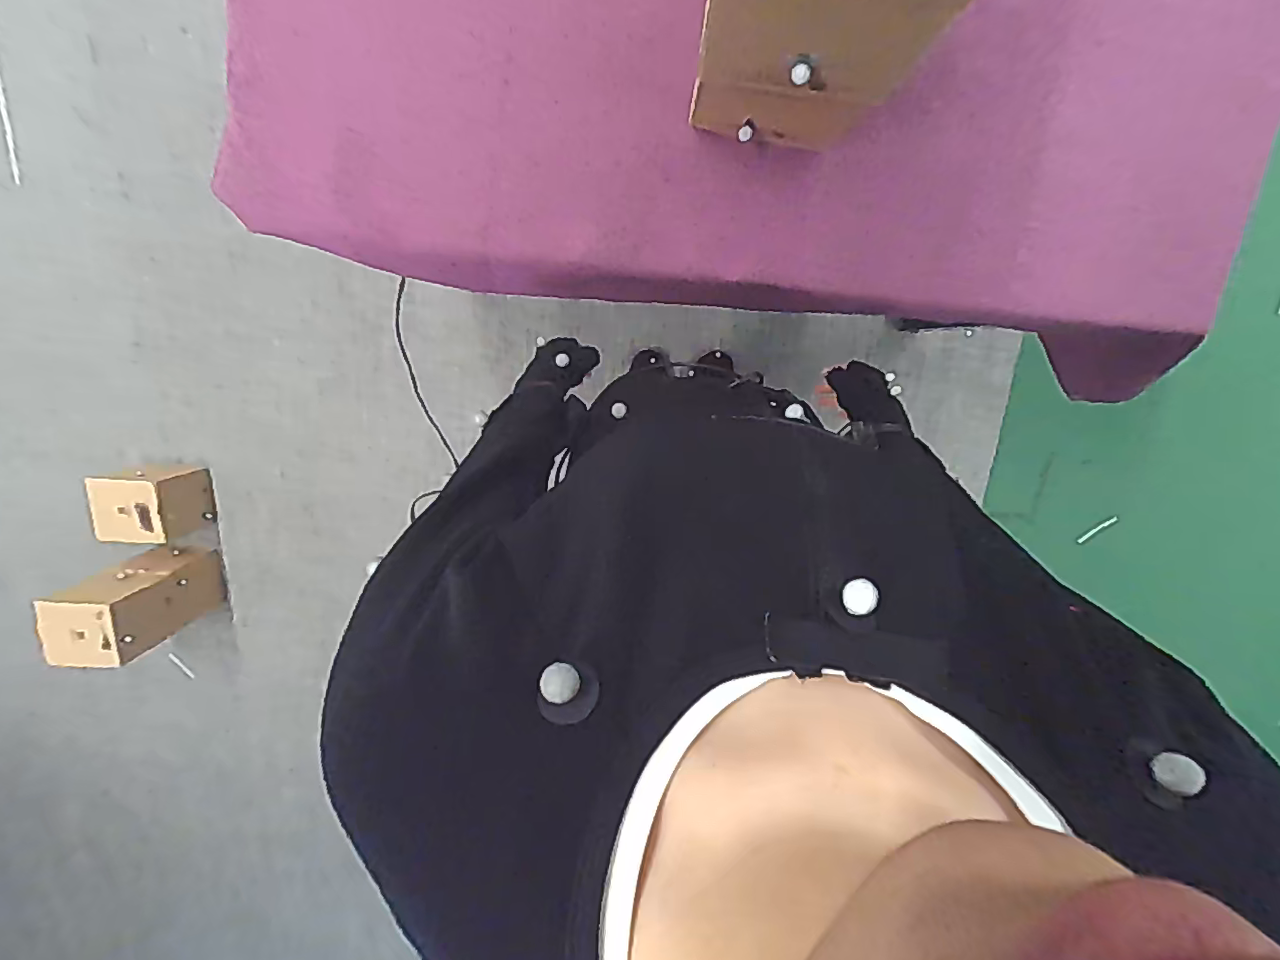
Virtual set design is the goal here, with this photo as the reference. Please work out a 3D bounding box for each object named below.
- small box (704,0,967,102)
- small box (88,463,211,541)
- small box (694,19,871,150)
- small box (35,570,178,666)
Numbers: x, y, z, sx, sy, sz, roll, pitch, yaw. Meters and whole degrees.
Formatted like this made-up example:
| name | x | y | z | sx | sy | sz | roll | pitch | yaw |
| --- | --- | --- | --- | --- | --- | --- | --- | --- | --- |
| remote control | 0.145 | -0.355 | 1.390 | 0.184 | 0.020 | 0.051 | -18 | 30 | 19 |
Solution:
| name | x | y | z | sx | sy | sz | roll | pitch | yaw |
| --- | --- | --- | --- | --- | --- | --- | --- | --- | --- |
| small box | 0.144 | -0.416 | 0.388 | 0.168 | 0.176 | 0.179 | 8 | 103 | 0 |
| small box | -1.270 | 0.052 | 1.419 | 0.179 | 0.176 | 0.168 | 3 | 103 | 0 |
| small box | 0.152 | -0.469 | 0.544 | 0.168 | 0.176 | 0.179 | 10 | 104 | -1 |
| small box | -1.290 | 0.329 | 1.320 | 0.179 | 0.176 | 0.168 | 4 | 104 | 0 |
